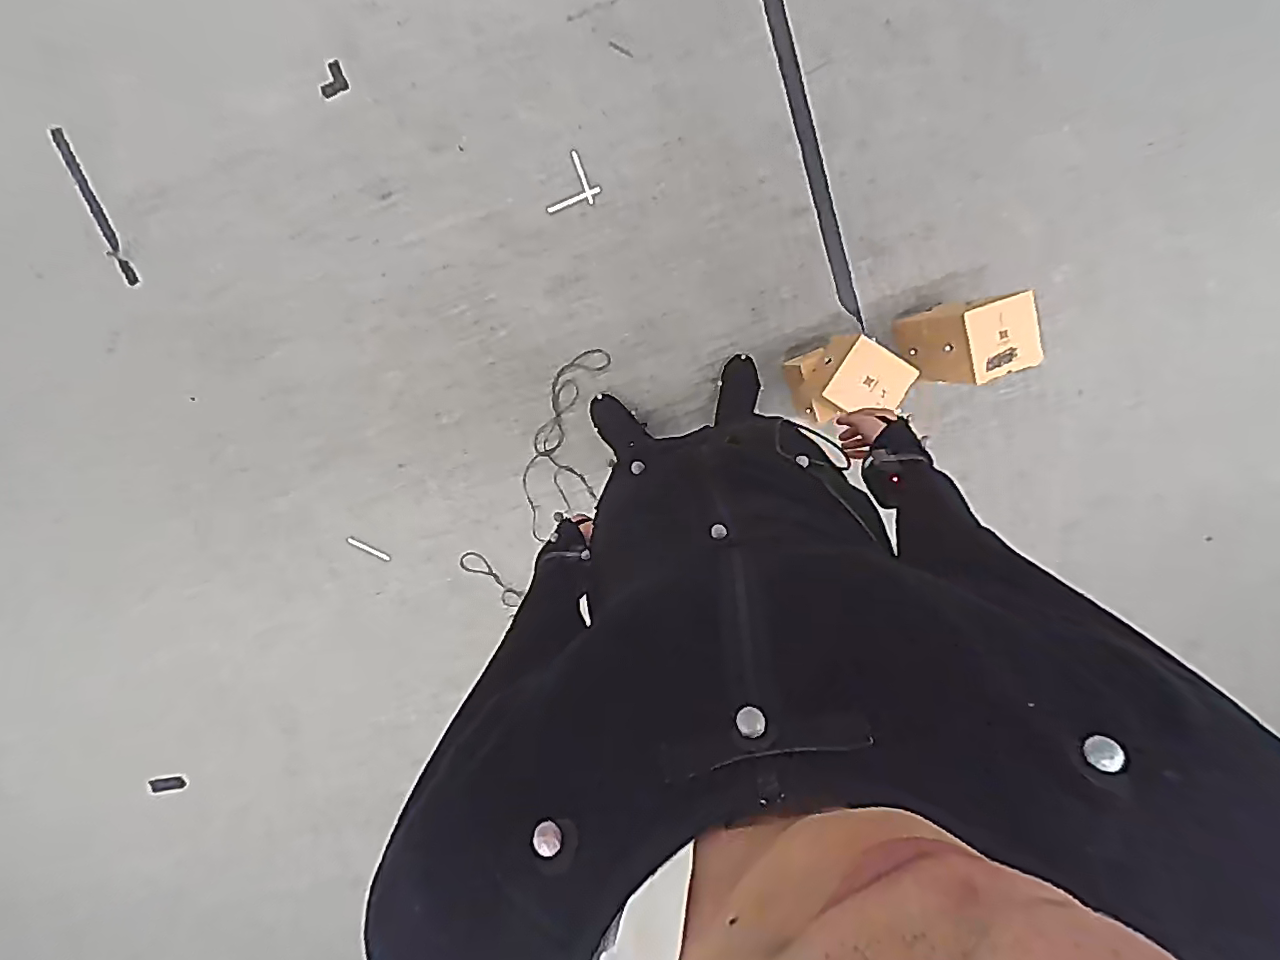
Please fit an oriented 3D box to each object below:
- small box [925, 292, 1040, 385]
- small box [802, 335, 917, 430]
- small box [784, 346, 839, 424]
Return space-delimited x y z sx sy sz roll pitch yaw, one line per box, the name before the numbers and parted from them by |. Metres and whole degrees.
small box | 0.839 -0.346 1.337 0.168 0.176 0.179 -19 102 2
small box | 0.538 -0.245 1.354 0.179 0.176 0.168 30 101 -9
small box | 0.522 -0.274 1.515 0.168 0.176 0.179 -22 103 4
